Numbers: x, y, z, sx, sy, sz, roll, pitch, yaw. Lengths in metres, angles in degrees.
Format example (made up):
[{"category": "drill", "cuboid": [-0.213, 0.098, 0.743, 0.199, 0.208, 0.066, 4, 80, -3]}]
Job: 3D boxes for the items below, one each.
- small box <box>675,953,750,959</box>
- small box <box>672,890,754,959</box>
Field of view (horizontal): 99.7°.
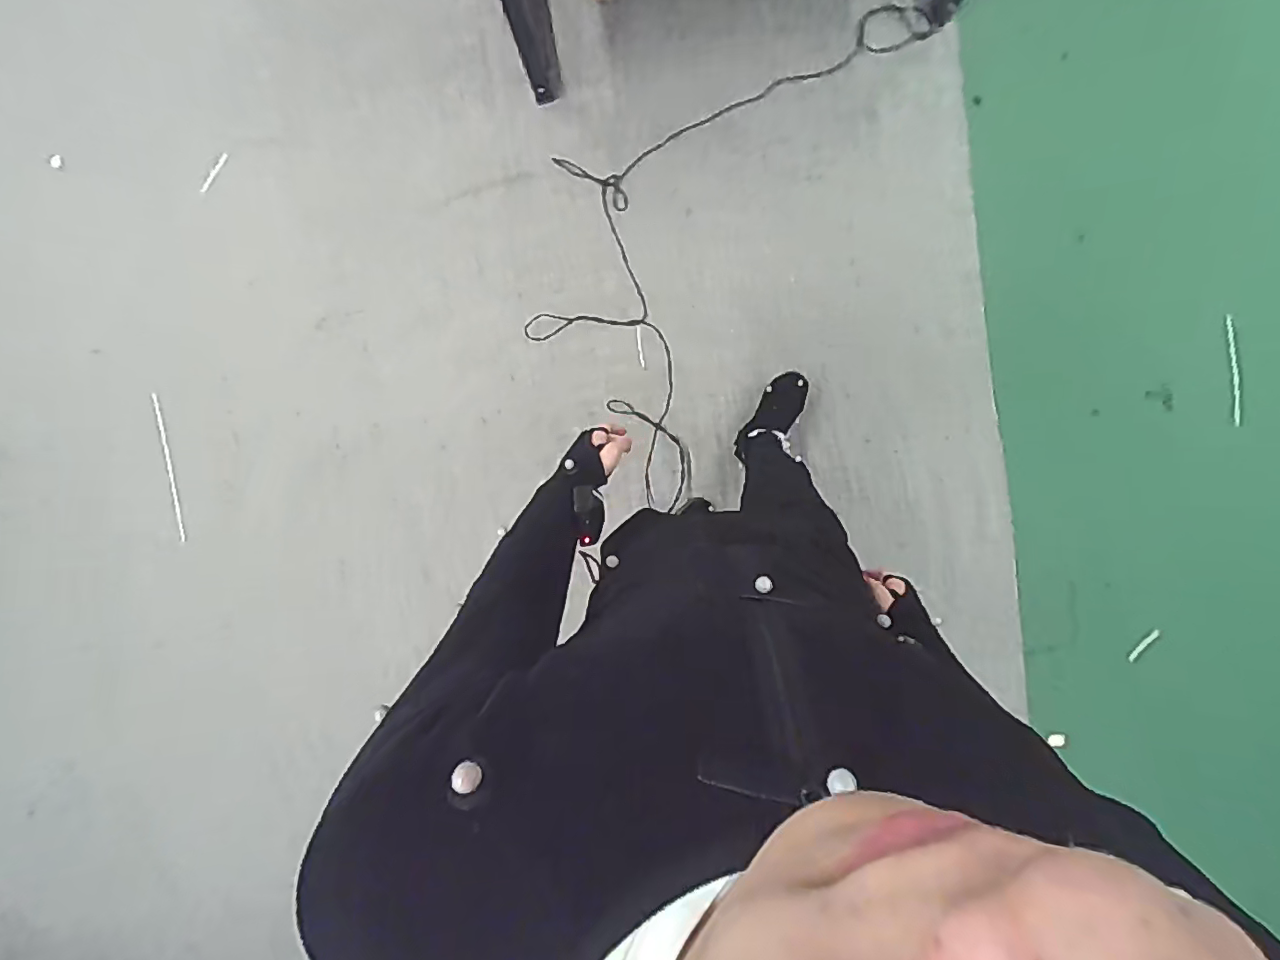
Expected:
[{"category": "small box", "cuboid": [0.147, 1.034, 0.998, 0.168, 0.176, 0.179, -2, 92, 2]}, {"category": "small box", "cuboid": [0.154, 1.032, 1.161, 0.168, 0.176, 0.179, -3, 93, 2]}]
